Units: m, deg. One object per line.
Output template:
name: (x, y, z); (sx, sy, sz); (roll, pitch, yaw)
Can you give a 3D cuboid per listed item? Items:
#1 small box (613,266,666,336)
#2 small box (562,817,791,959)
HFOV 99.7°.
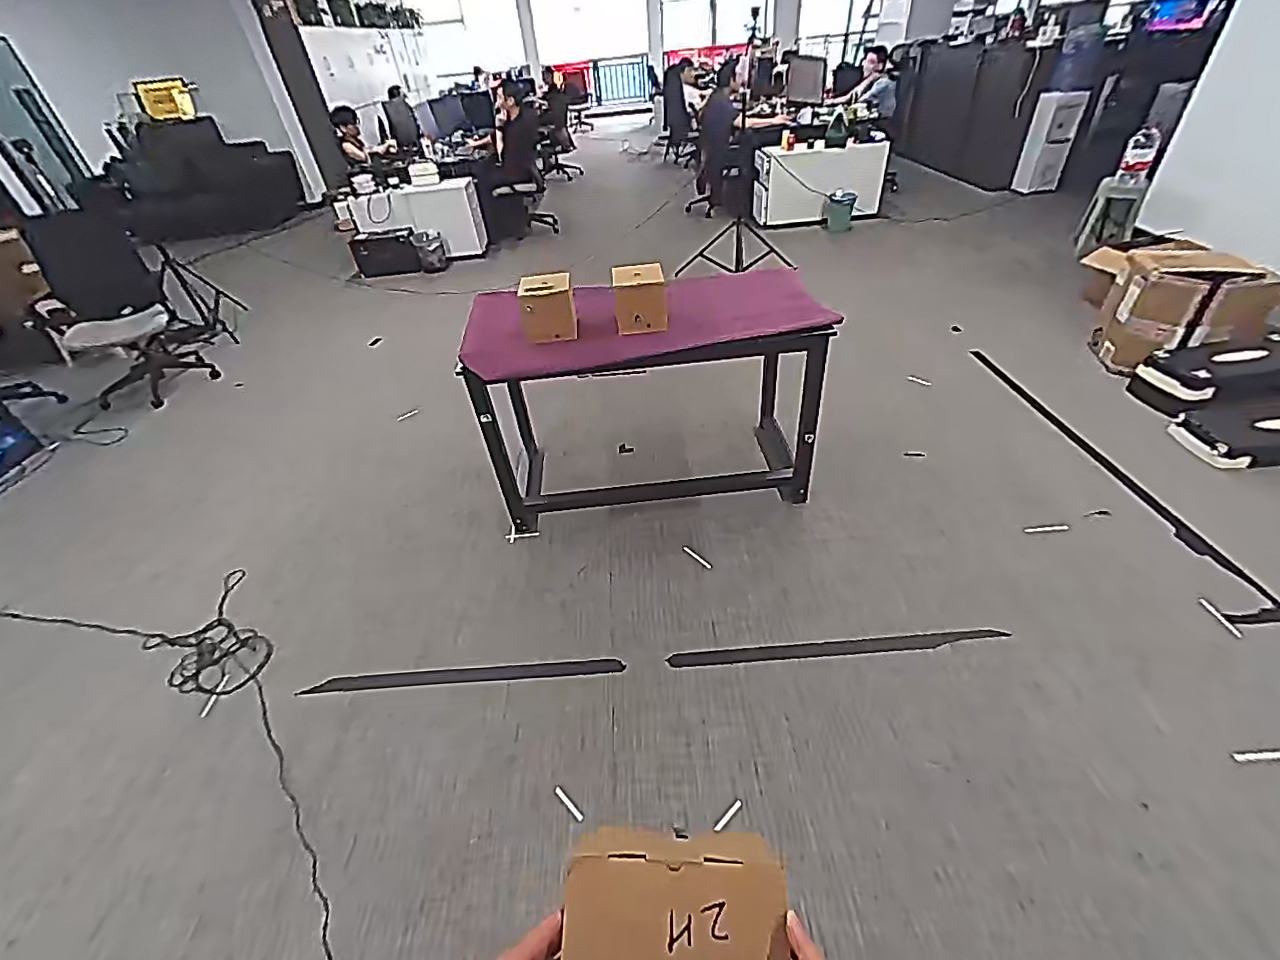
small box: (-0.003, -0.603, 1.822); (0.168, 0.176, 0.179); (-6, 40, 0)
small box: (0.033, 0.394, 0.446); (0.168, 0.176, 0.179); (-1, 63, 6)
